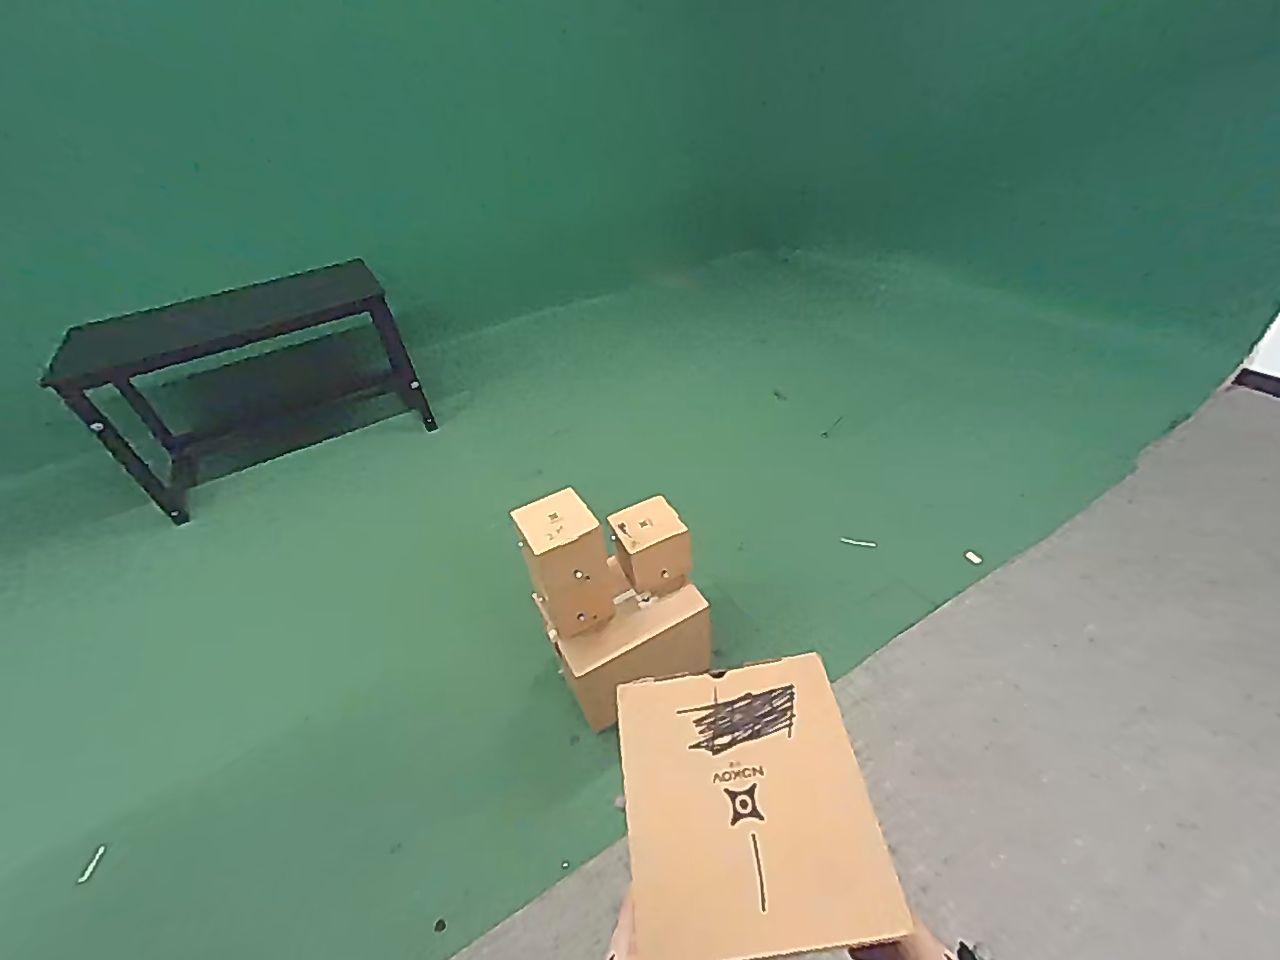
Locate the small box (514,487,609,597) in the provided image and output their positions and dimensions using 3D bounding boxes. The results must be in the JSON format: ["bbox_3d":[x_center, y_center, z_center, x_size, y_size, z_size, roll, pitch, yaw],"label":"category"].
[{"bbox_3d":[-0.191,0.153,1.333,0.168,0.176,0.179,-24,43,-20],"label":"small box"}]

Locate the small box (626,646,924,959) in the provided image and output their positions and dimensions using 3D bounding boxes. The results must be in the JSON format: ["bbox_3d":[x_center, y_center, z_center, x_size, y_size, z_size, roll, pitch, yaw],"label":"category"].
[{"bbox_3d":[0.085,0.257,0.425,0.168,0.176,0.179,-10,48,2],"label":"small box"}]

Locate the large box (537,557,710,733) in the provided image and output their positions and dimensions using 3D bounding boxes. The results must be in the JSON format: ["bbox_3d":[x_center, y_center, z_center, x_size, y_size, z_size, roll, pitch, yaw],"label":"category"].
[{"bbox_3d":[-0.040,0.450,1.592,0.408,0.320,0.320,-23,43,-19],"label":"large box"}]

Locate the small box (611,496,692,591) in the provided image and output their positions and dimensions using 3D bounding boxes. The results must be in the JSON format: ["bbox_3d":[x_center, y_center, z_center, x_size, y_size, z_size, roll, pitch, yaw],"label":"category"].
[{"bbox_3d":[0.033,0.179,1.521,0.179,0.176,0.168,-20,41,-15],"label":"small box"}]

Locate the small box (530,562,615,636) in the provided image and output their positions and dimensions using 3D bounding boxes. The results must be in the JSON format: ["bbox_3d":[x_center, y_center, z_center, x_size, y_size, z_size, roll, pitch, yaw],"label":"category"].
[{"bbox_3d":[-0.179,0.279,1.439,0.168,0.176,0.179,-23,42,-19],"label":"small box"}]
